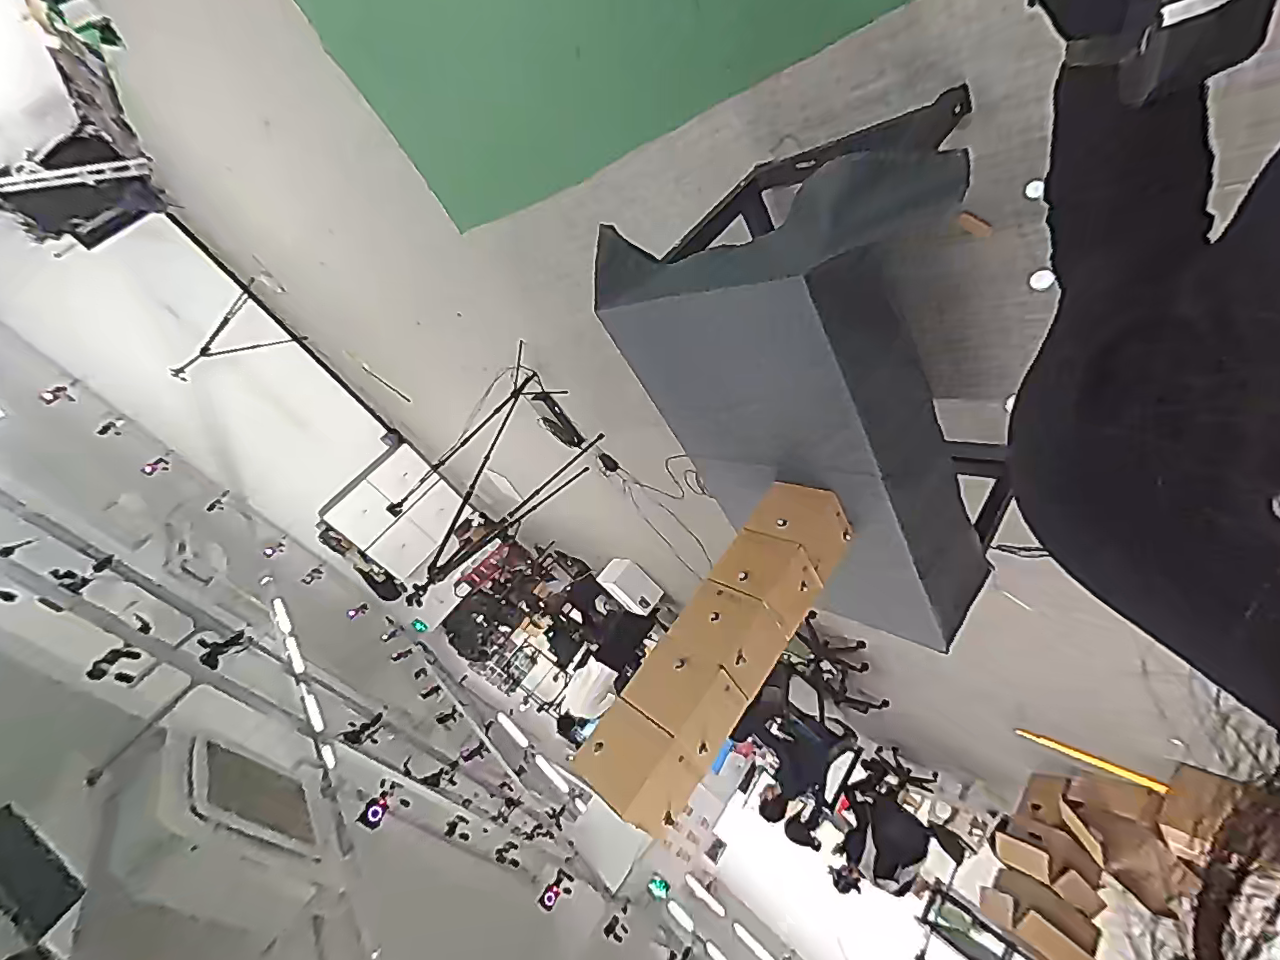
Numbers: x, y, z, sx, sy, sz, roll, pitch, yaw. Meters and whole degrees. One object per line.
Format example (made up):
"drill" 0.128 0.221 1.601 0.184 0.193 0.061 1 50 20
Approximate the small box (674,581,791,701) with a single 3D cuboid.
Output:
"small box" 0.215 0.360 1.234 0.168 0.176 0.179 14 146 49

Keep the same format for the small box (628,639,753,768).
"small box" 0.113 0.472 1.173 0.179 0.176 0.168 15 147 49

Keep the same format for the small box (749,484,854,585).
"small box" 0.412 0.130 1.356 0.179 0.176 0.168 13 146 51

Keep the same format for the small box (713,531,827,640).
"small box" 0.313 0.244 1.297 0.179 0.176 0.168 12 145 50
